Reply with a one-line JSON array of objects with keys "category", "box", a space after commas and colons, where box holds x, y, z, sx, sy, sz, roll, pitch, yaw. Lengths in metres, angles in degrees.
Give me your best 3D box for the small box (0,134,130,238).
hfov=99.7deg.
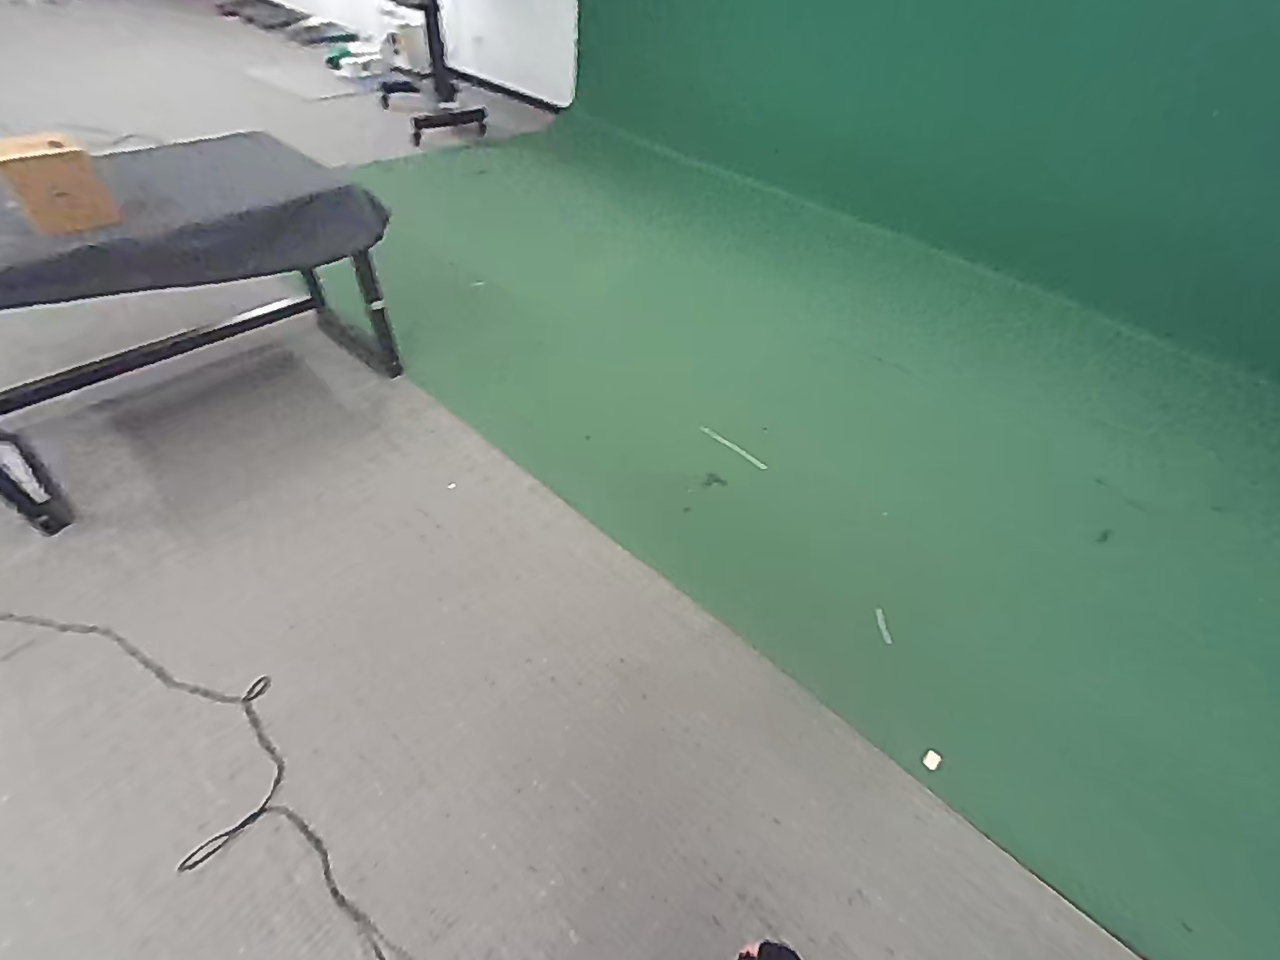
[{"category": "small box", "box": [-1.424, -0.728, 1.341, 0.168, 0.176, 0.179, 36, 54, 25]}]
